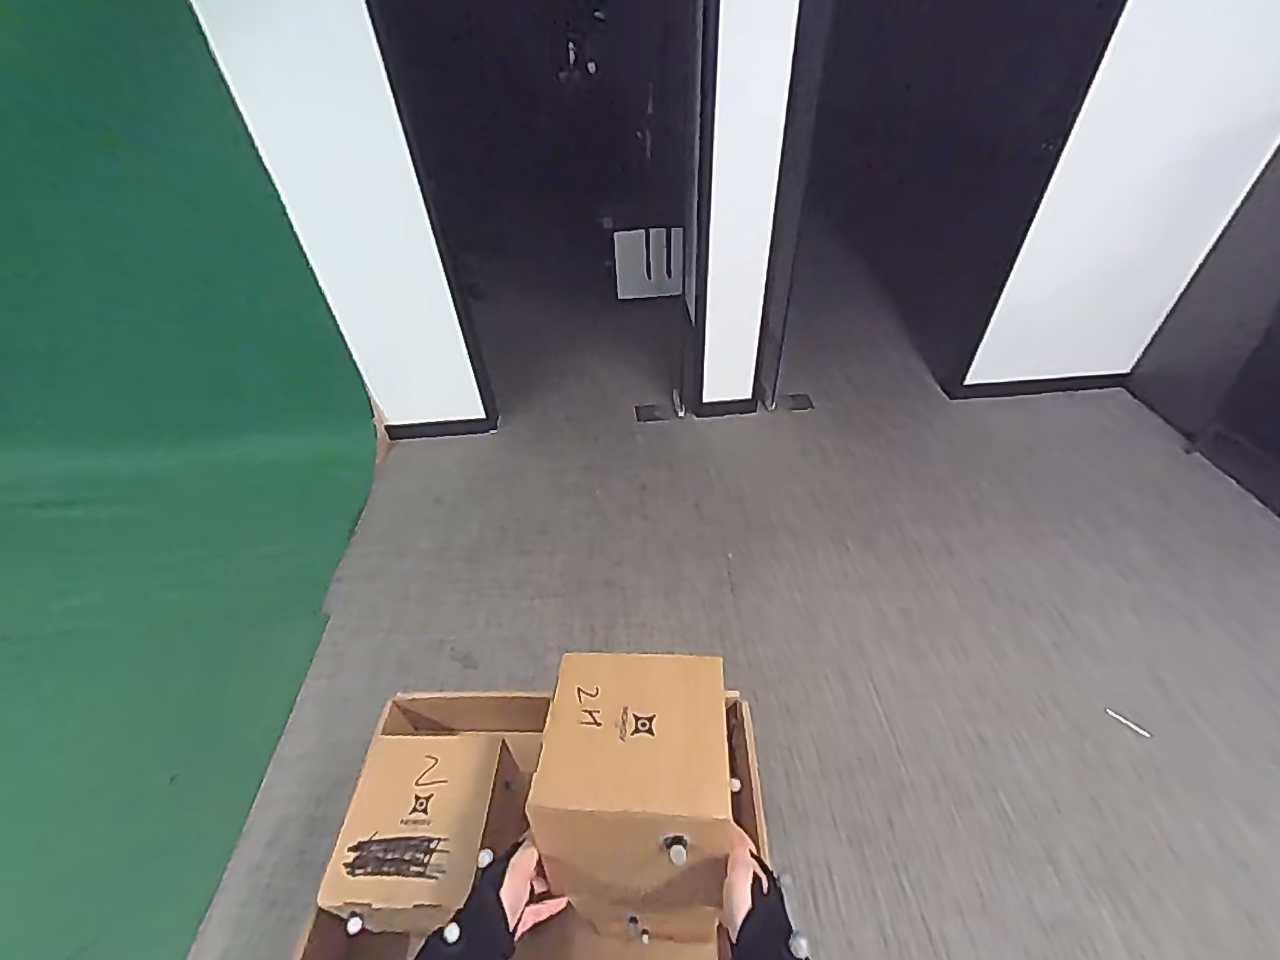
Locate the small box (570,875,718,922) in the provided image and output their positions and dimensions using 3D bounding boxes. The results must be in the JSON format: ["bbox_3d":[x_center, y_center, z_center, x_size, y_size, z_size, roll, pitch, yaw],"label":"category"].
[{"bbox_3d":[0.010,0.429,0.683,0.168,0.176,0.179,0,45,5],"label":"small box"}]

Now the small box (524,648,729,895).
[{"bbox_3d":[-0.001,0.299,0.562,0.179,0.176,0.168,0,32,7],"label":"small box"}]
